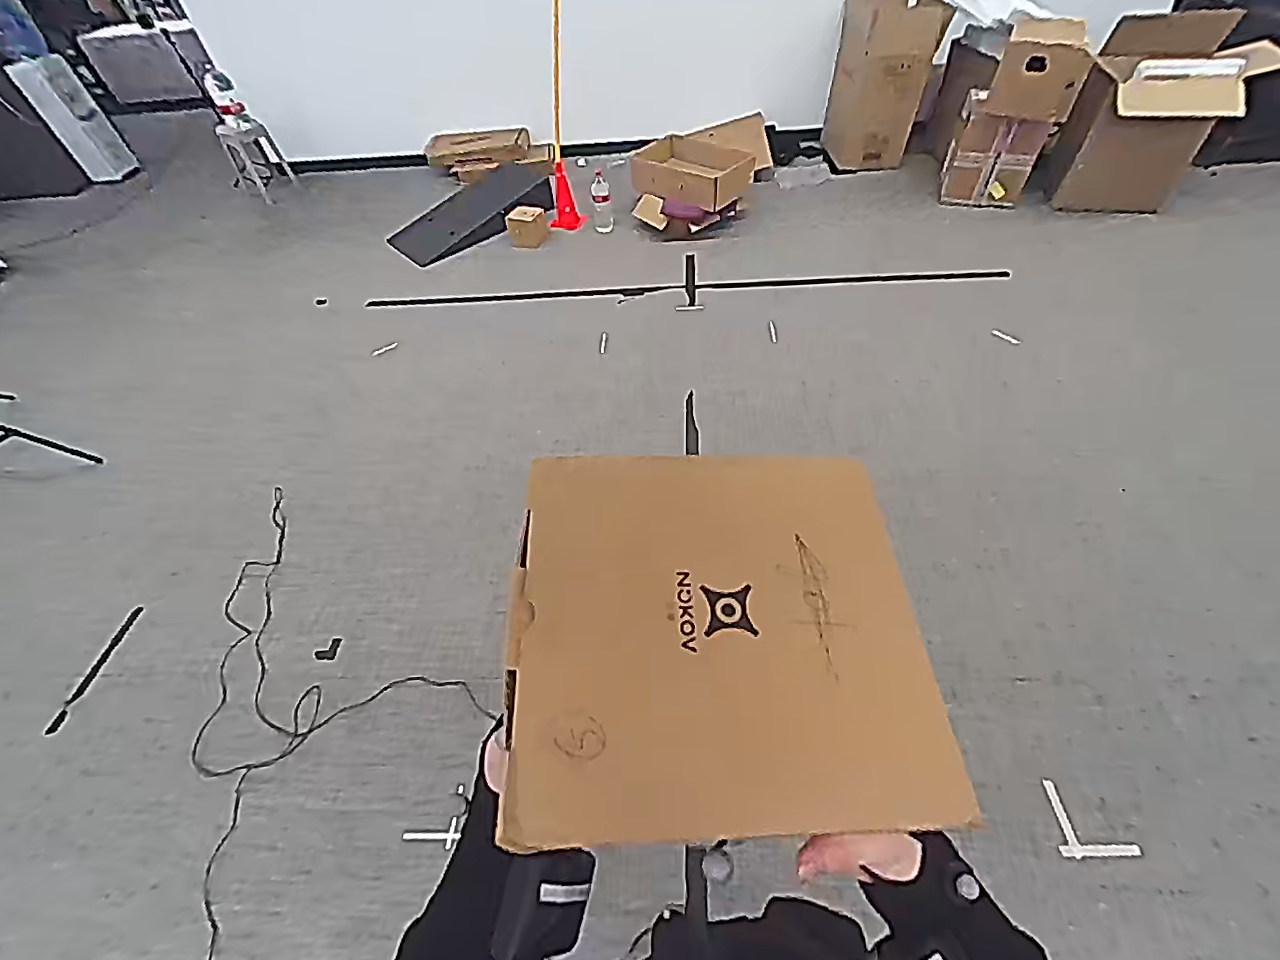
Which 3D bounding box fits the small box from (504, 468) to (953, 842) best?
[{"bbox_3d":[0.028,0.107,0.313,0.179,0.176,0.168,0,57,-5],"label":"small box"}]
